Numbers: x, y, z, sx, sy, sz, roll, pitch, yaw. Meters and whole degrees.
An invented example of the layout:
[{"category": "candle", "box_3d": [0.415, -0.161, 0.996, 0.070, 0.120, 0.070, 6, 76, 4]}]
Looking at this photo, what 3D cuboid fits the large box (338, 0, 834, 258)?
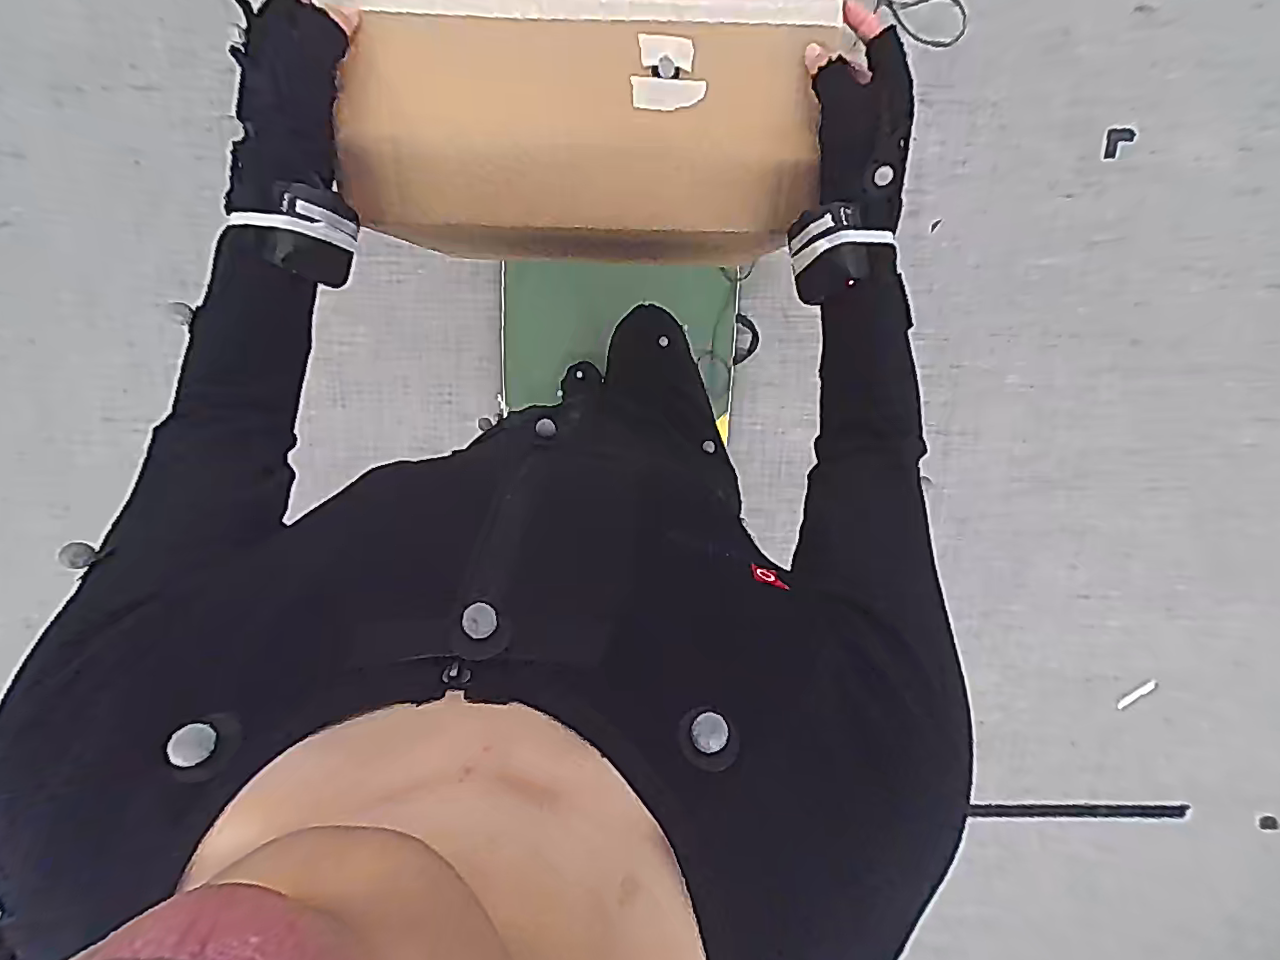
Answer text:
[{"category": "large box", "box_3d": [-0.049, -0.420, 0.575, 0.408, 0.320, 0.320, 0, 107, -3]}]
